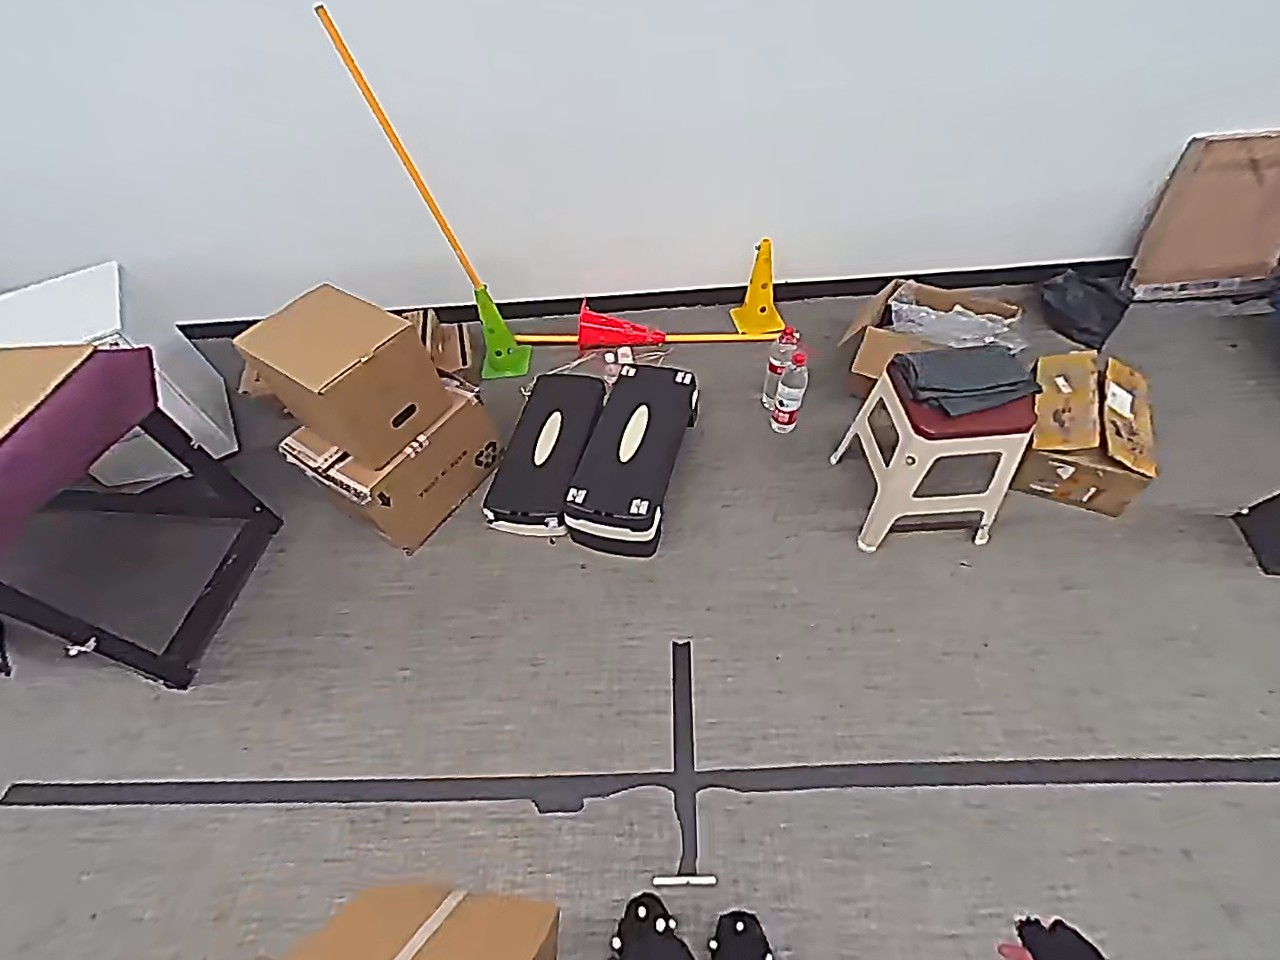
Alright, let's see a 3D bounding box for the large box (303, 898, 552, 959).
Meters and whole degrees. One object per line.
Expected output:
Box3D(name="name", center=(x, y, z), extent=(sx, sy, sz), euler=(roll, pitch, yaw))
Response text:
Box3D(name="large box", center=(-0.313, 0.778, 0.622), extent=(0.320, 0.408, 0.320), euler=(-1, 78, 8))
